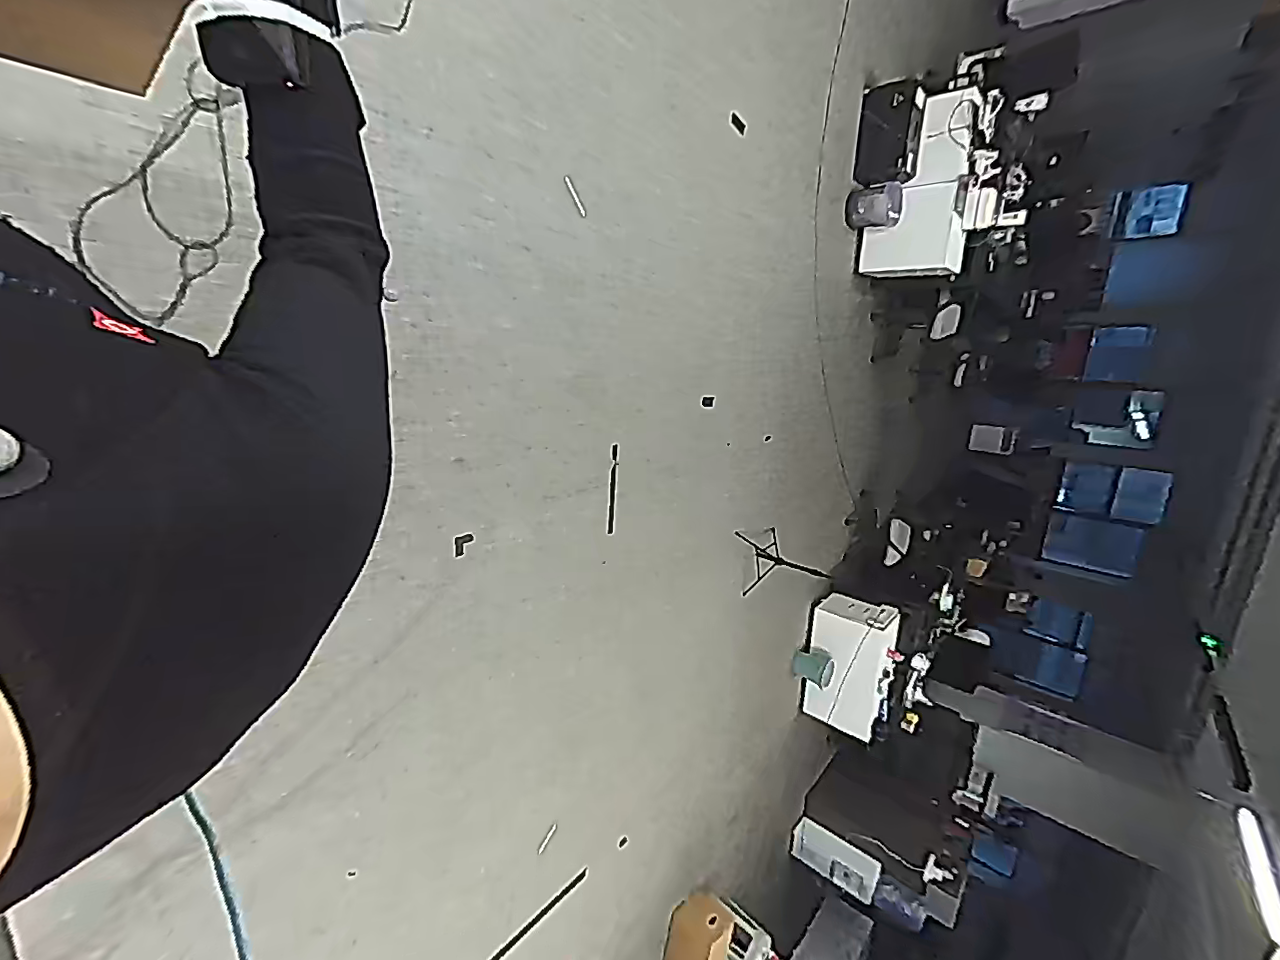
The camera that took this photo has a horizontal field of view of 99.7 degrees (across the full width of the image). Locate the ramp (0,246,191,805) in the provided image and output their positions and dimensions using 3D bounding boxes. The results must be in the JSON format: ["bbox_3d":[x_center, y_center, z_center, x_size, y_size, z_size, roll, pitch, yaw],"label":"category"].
[{"bbox_3d":[-1.195,0.093,0.939,0.509,0.206,0.991,-16,113,-46],"label":"ramp"}]
